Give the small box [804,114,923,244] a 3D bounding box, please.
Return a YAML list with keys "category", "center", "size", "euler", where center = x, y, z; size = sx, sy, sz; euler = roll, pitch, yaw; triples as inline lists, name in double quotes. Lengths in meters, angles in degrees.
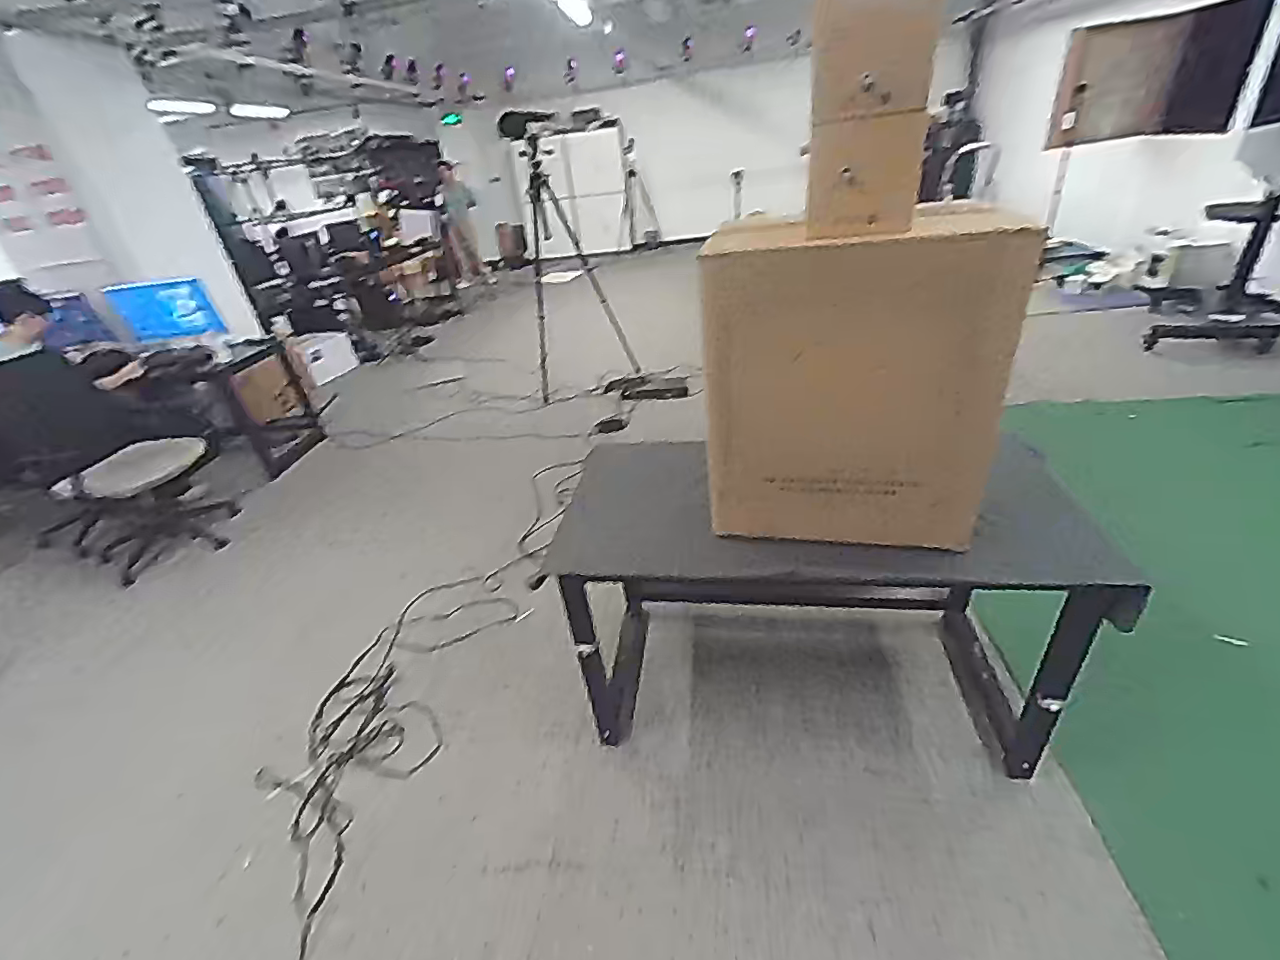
- category: "small box"
  center: [0.369, -0.504, 0.914]
  size: [0.168, 0.176, 0.179]
  euler: [3, 34, 17]
